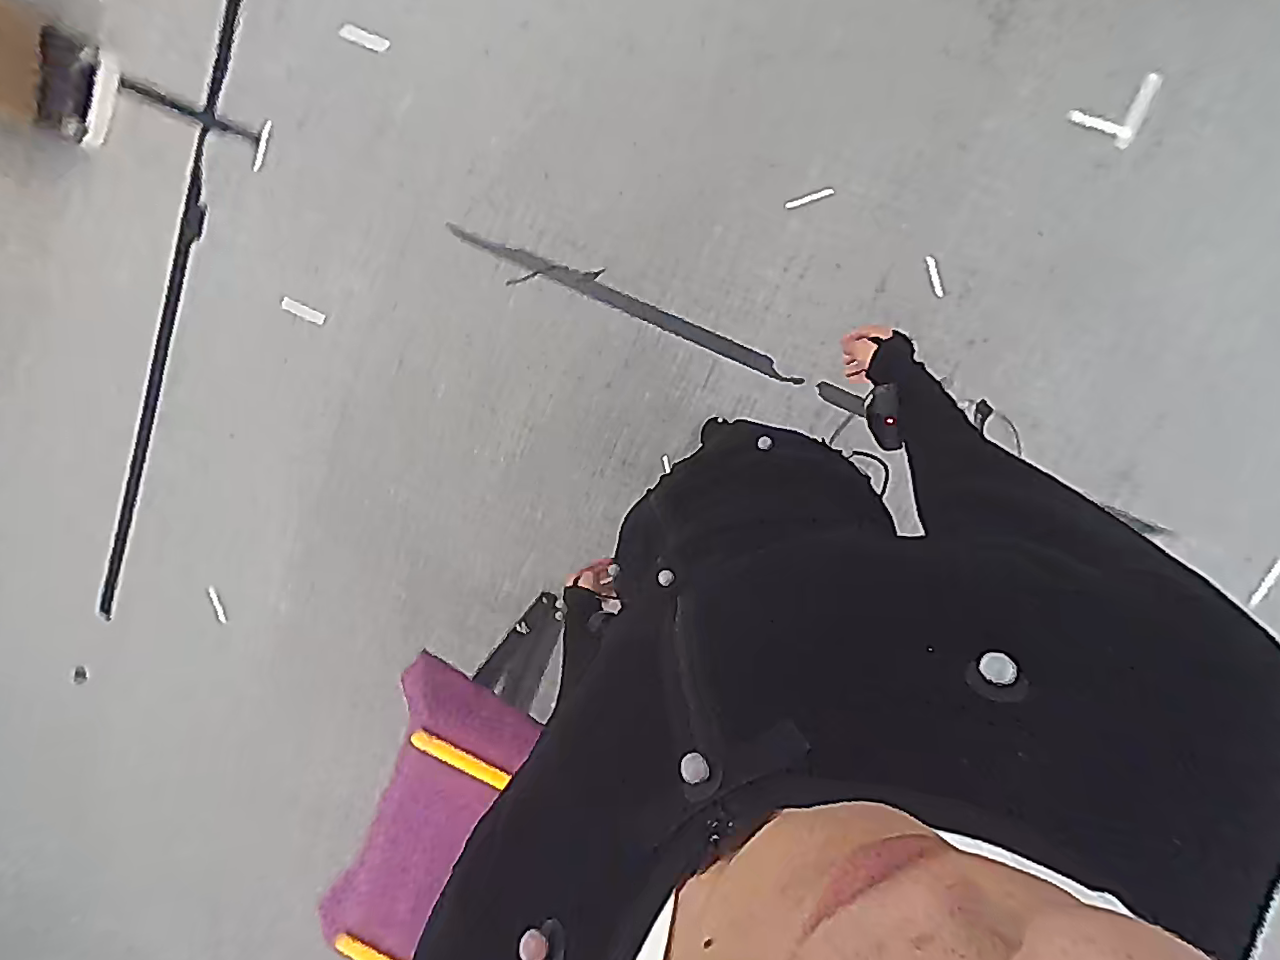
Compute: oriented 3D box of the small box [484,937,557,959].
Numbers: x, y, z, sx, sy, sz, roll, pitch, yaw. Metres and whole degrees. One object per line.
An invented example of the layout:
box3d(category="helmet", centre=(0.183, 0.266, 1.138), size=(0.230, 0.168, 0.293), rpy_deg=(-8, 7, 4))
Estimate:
box3d(category="small box", centre=(-0.241, 0.999, 0.989), size=(0.179, 0.176, 0.168), rpy_deg=(21, 100, 3))
